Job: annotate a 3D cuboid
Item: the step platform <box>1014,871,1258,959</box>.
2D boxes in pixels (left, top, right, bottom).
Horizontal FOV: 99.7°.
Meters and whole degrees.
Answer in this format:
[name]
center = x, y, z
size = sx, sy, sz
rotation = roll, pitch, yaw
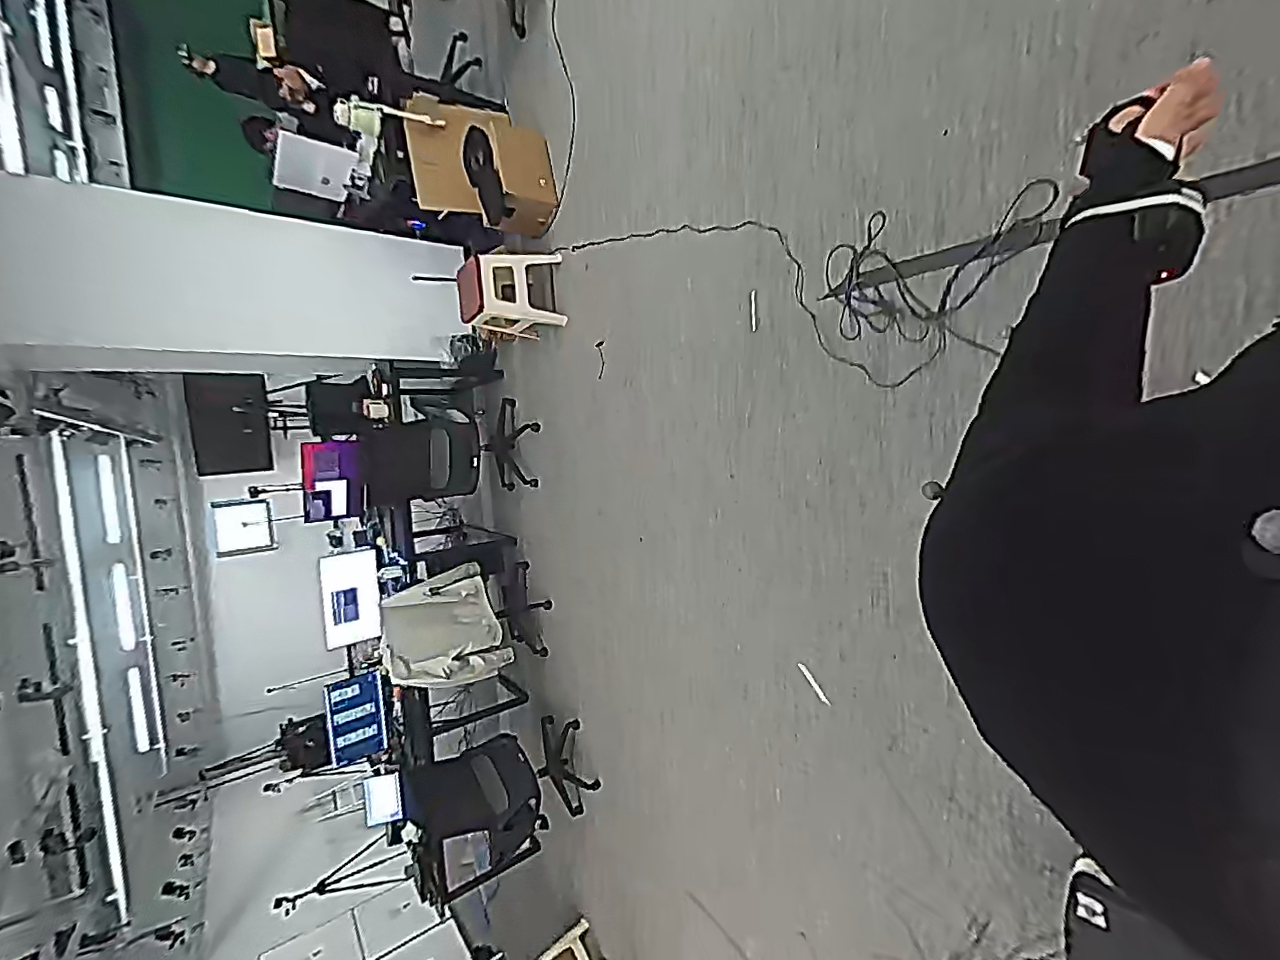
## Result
[step platform]
center = 1.020, 0.961, 0.852
size = 0.684, 0.204, 0.286
rotation = 1, 97, 54
